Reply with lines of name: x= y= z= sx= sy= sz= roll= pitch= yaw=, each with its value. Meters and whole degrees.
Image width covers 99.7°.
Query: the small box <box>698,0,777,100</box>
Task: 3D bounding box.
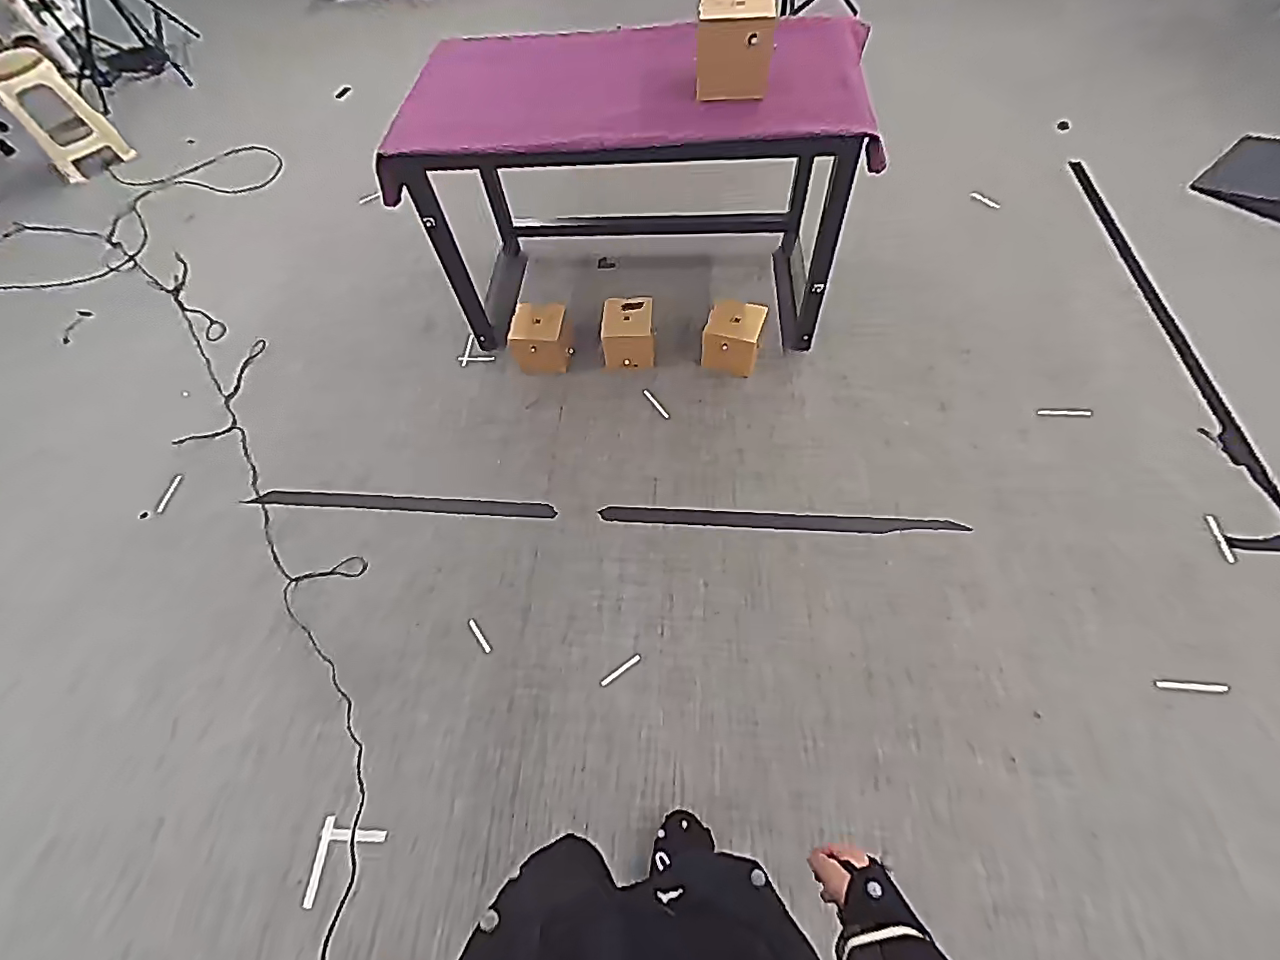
small box: x=0.234 y=-1.060 z=1.319 sx=0.179 sy=0.176 sz=0.168 roll=3 pitch=59 yaw=7

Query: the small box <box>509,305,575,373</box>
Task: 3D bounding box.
small box: x=-0.338 y=-0.492 z=1.891 sx=0.179 sy=0.176 sz=0.168 roll=3 pitch=62 yaw=6

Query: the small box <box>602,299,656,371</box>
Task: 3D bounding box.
small box: x=-0.033 y=-0.500 z=1.865 sx=0.168 sy=0.176 sz=0.179 roll=0 pitch=61 yaw=6

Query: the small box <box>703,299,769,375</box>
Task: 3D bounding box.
small box: x=0.320 y=-0.477 z=1.821 sx=0.179 sy=0.176 sz=0.168 roll=16 pitch=63 yaw=15
